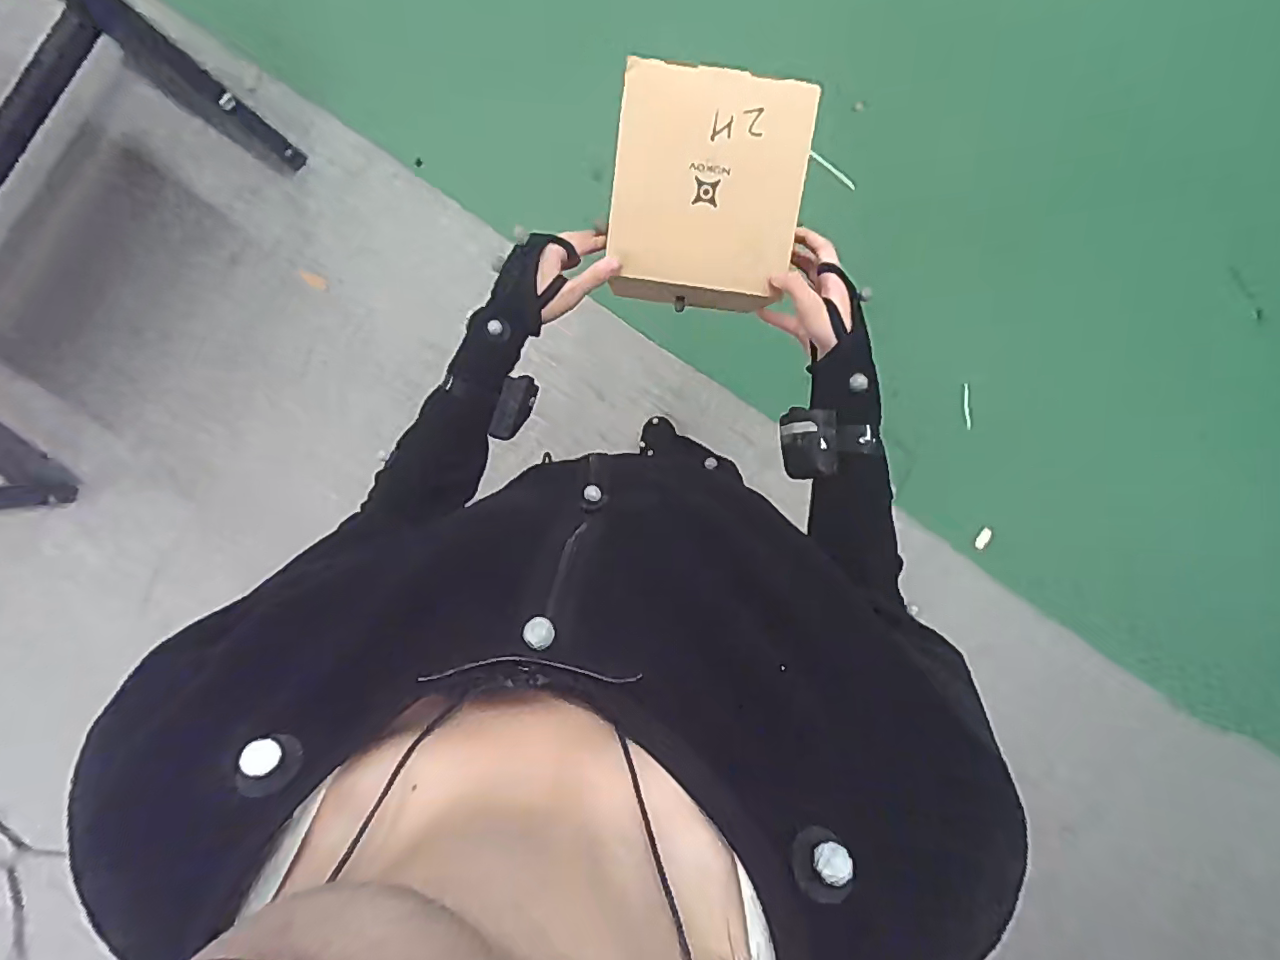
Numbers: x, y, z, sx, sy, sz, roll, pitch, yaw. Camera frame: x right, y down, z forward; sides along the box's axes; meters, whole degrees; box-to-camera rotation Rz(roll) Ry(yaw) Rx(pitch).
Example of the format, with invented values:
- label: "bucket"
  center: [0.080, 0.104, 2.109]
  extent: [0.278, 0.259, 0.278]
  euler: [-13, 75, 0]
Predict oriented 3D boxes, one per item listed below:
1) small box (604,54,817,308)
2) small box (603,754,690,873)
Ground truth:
- label: "small box"
  center: [0.060, -0.278, 0.547]
  extent: [0.168, 0.176, 0.179]
  euler: [7, 101, -1]
- label: "small box"
  center: [0.017, 0.871, 1.431]
  extent: [0.168, 0.176, 0.179]
  euler: [27, 93, 1]
